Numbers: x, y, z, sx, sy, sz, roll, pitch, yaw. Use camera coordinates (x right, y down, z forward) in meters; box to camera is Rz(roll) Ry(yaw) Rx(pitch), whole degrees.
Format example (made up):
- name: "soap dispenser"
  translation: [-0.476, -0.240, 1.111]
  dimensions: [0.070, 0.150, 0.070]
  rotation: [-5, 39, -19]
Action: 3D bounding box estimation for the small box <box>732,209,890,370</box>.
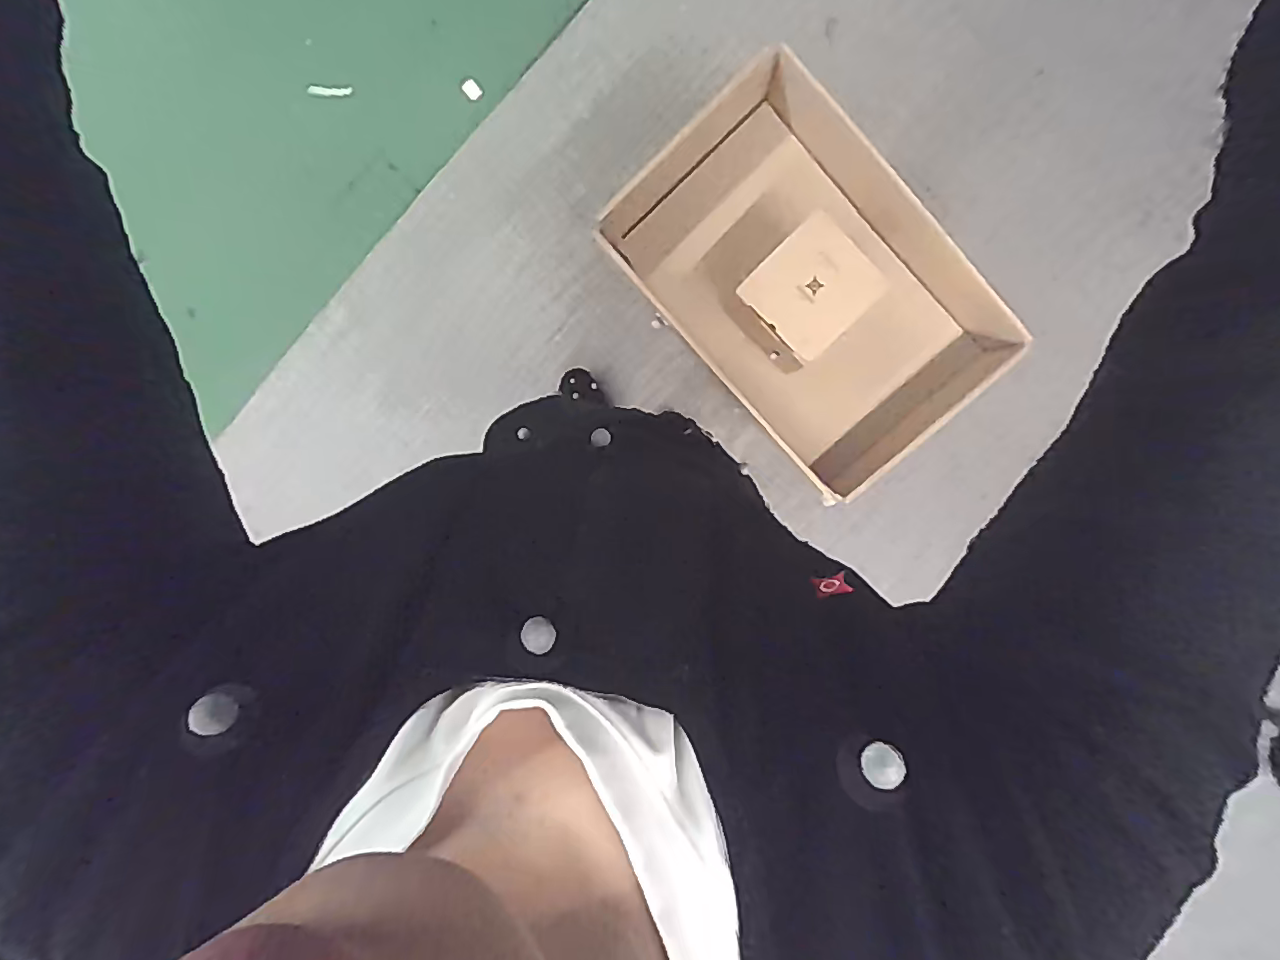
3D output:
- name: "small box"
  translation: [0.271, -0.304, 0.909]
  dimensions: [0.179, 0.176, 0.168]
  rotation: [-44, 93, 6]
